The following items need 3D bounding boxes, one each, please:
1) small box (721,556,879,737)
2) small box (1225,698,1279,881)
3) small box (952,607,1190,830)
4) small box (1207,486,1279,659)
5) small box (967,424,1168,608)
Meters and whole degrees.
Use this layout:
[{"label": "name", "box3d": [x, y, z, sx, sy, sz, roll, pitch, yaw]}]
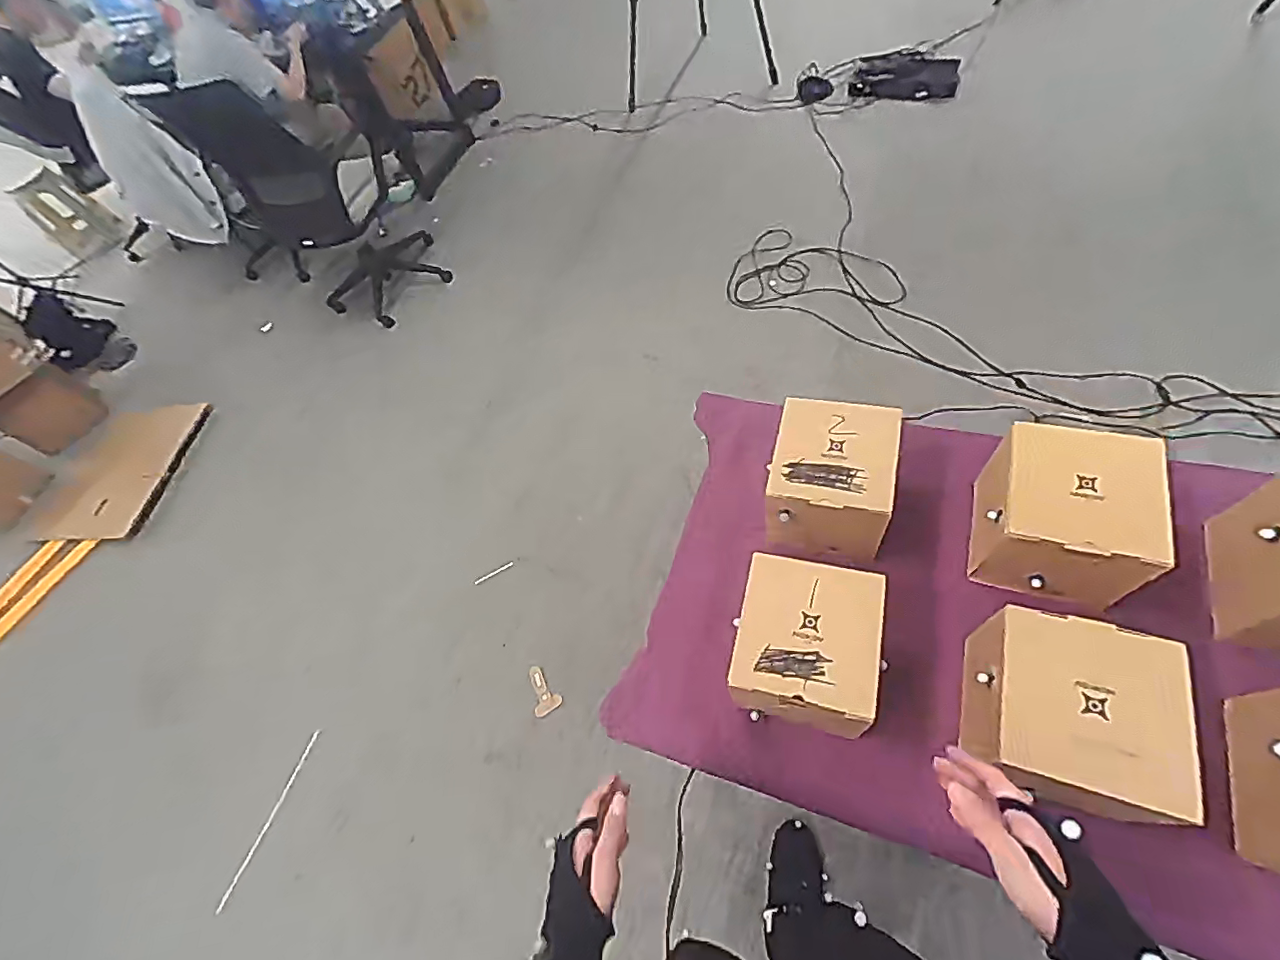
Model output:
[{"label": "small box", "box3d": [0.214, 0.226, 0.722, 0.168, 0.176, 0.179, 9, 61, 19]}, {"label": "small box", "box3d": [0.733, 0.323, 0.528, 0.168, 0.176, 0.179, 13, 64, 22]}, {"label": "small box", "box3d": [0.479, 0.273, 0.627, 0.168, 0.176, 0.179, 11, 64, 22]}, {"label": "small box", "box3d": [0.816, 0.112, 0.628, 0.168, 0.176, 0.179, 13, 65, 22]}, {"label": "small box", "box3d": [0.562, 0.052, 0.735, 0.168, 0.176, 0.179, 11, 65, 21]}]
